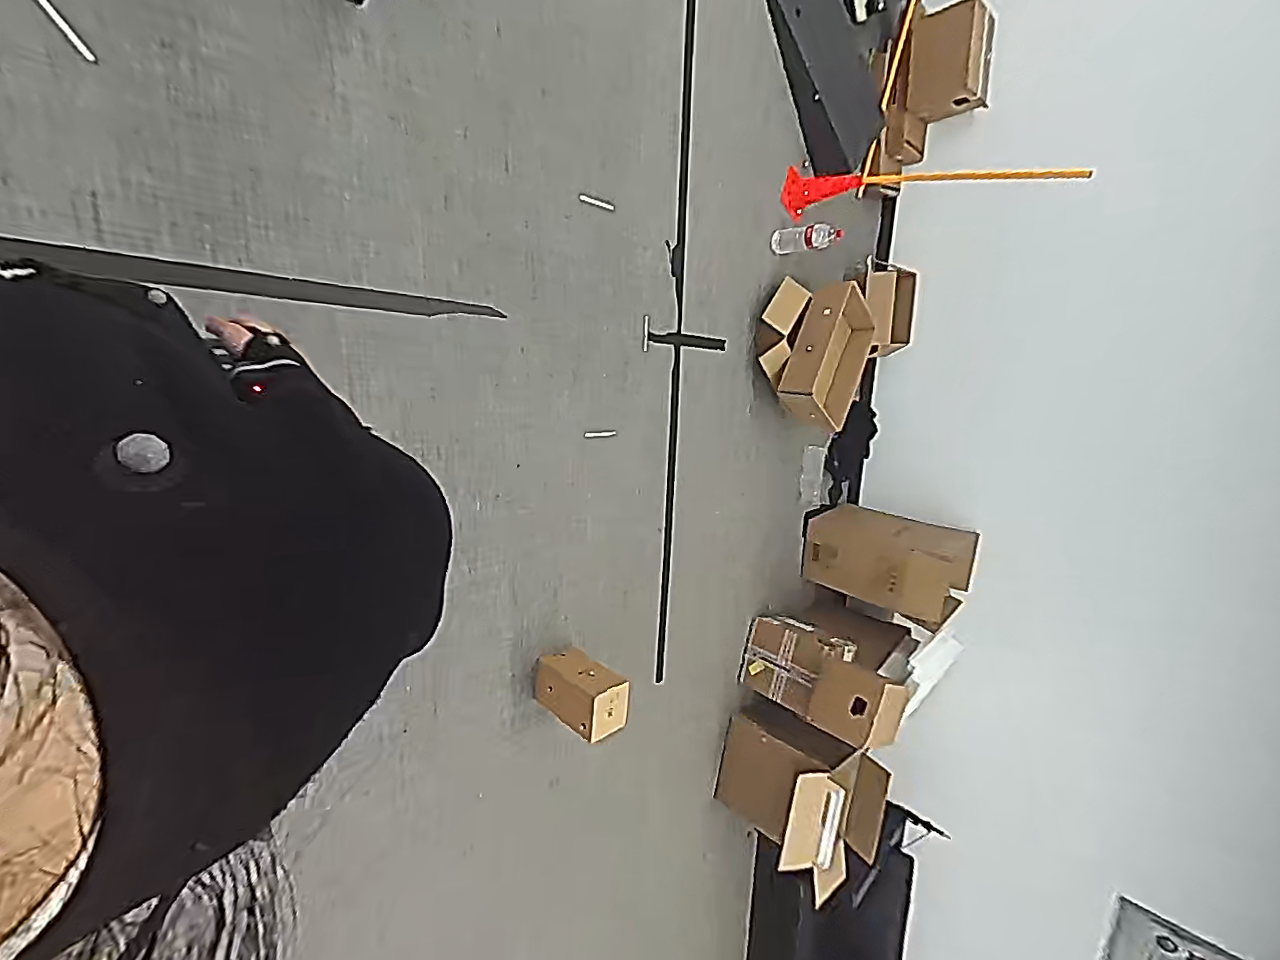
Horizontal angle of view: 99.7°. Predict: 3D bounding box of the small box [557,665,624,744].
[{"bbox_3d":[-0.180,0.787,1.914,0.168,0.176,0.179,-4,102,-47],"label":"small box"}]
